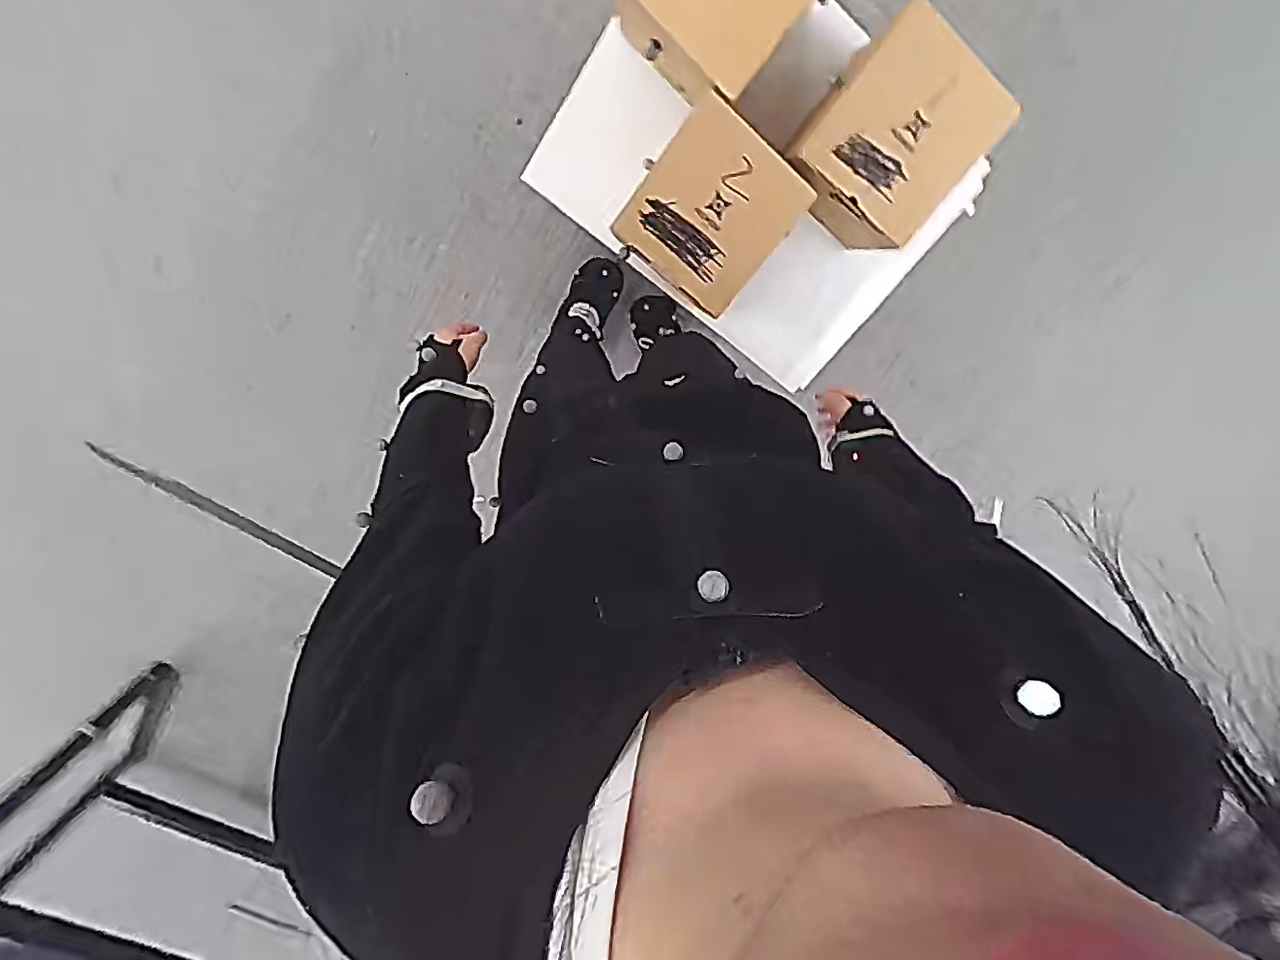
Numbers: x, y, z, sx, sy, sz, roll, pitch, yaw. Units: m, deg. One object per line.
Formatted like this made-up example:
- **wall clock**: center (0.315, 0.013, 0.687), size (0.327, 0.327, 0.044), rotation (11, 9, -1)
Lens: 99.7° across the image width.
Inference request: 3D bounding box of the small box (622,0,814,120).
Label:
- **small box**: center (0.092, -0.542, 0.596), size (0.168, 0.176, 0.179), rotation (38, 108, -16)
